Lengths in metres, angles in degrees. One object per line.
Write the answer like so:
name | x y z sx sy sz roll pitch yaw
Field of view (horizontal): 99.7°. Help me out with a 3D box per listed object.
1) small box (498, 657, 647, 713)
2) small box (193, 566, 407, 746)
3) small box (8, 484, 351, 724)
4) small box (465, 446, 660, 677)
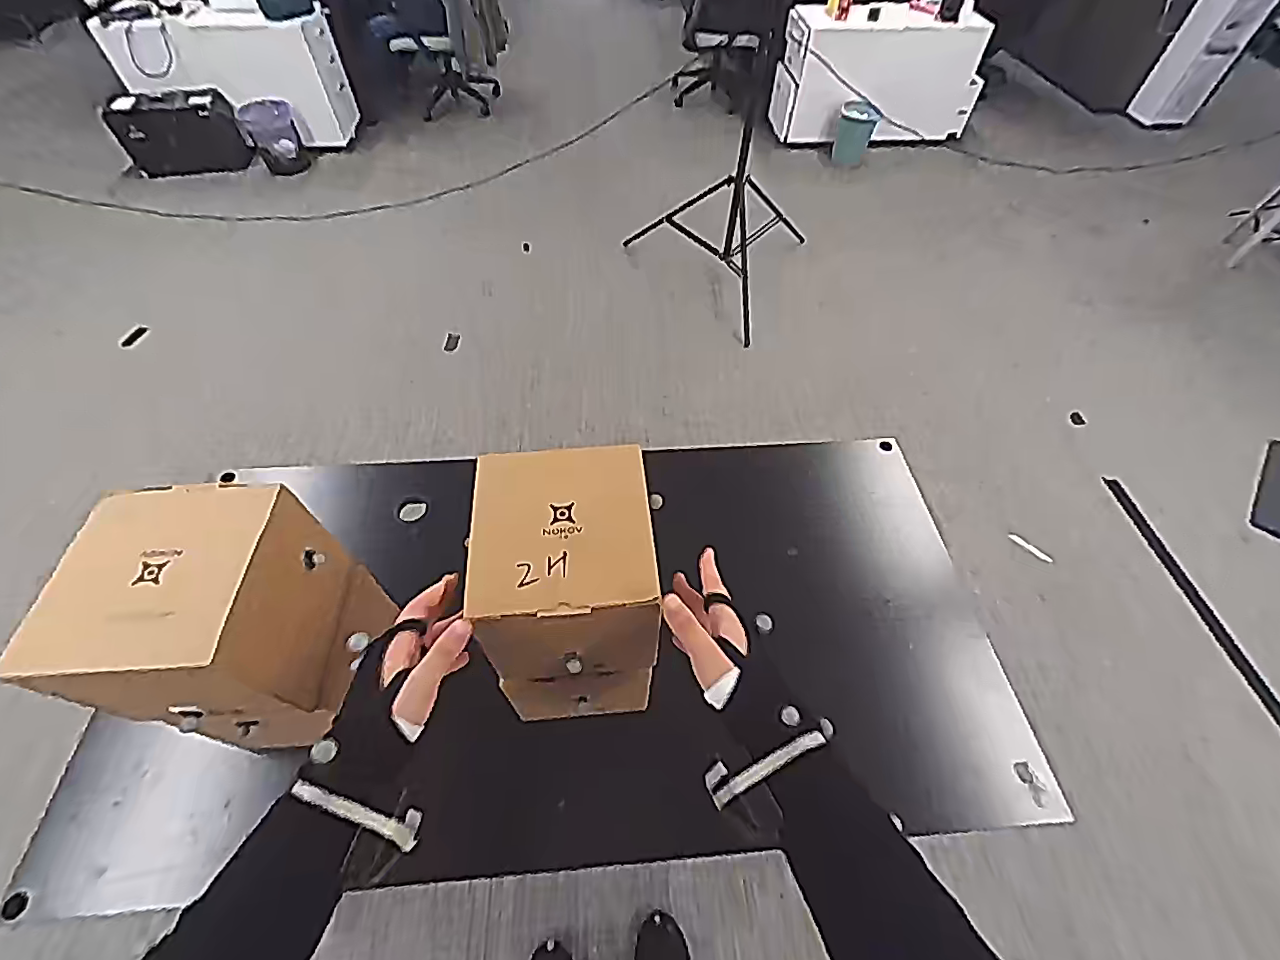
small box | -0.079 0.190 0.697 0.168 0.176 0.179 -4 54 -4
small box | -0.414 0.220 0.664 0.179 0.176 0.168 -1 54 -4
small box | -0.413 0.124 0.533 0.168 0.176 0.179 -3 55 -2
small box | -0.073 0.087 0.566 0.168 0.176 0.179 -4 53 -4
